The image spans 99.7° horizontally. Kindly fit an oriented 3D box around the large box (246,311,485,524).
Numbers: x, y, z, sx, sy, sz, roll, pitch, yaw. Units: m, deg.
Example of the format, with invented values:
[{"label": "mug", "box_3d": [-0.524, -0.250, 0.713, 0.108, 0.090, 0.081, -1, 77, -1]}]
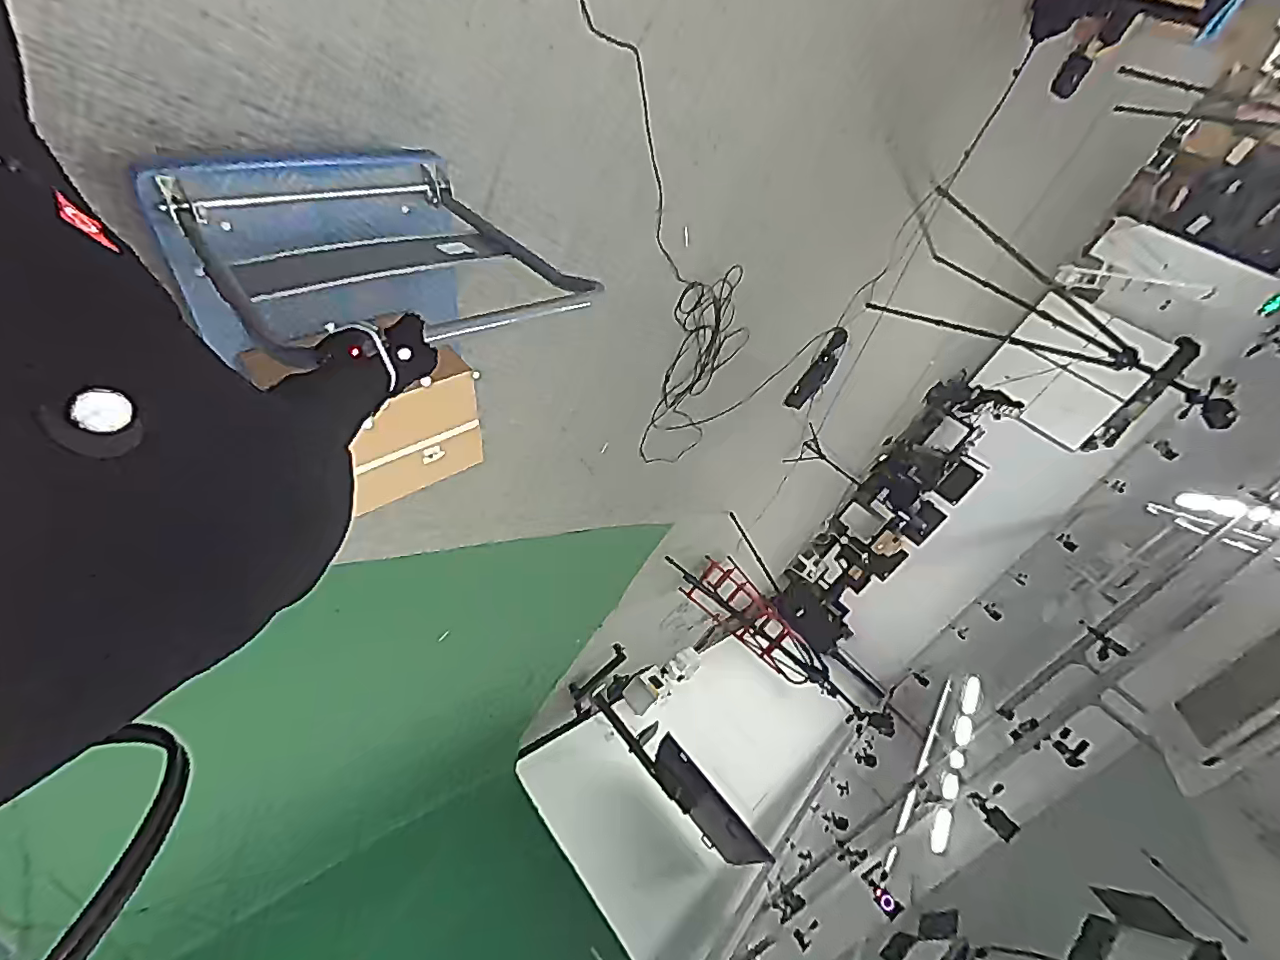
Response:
[{"label": "large box", "box_3d": [-0.657, -0.169, 1.350, 0.408, 0.320, 0.320, -31, 150, -31]}]
